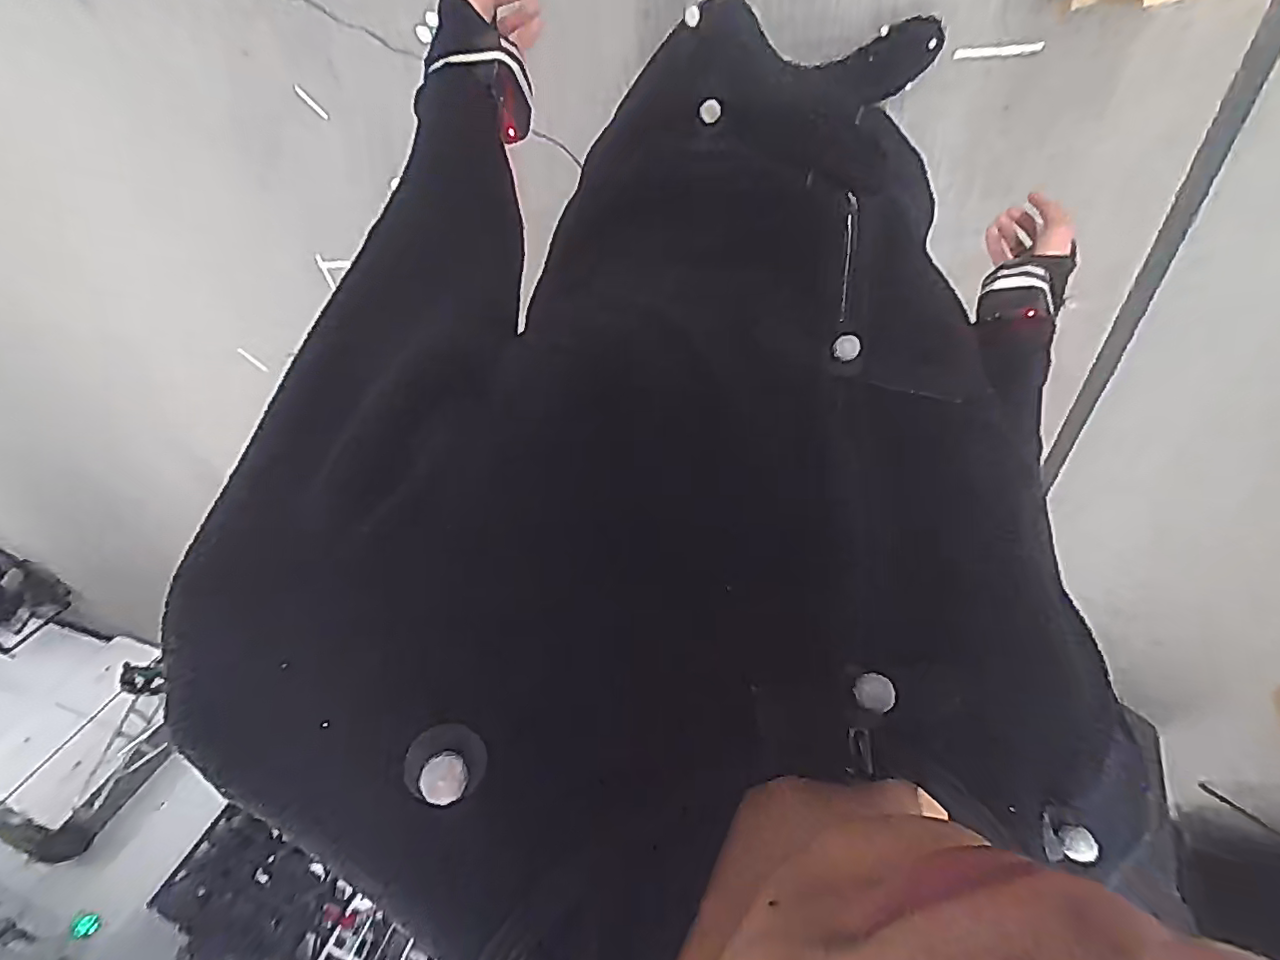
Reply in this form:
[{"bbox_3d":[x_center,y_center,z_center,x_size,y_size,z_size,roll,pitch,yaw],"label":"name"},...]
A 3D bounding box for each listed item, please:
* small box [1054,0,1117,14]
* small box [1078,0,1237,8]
[{"bbox_3d":[0.789,-0.871,0.859,0.168,0.176,0.179,7,132,20],"label":"small box"},{"bbox_3d":[0.747,-0.766,0.740,0.179,0.176,0.168,11,135,17],"label":"small box"}]
